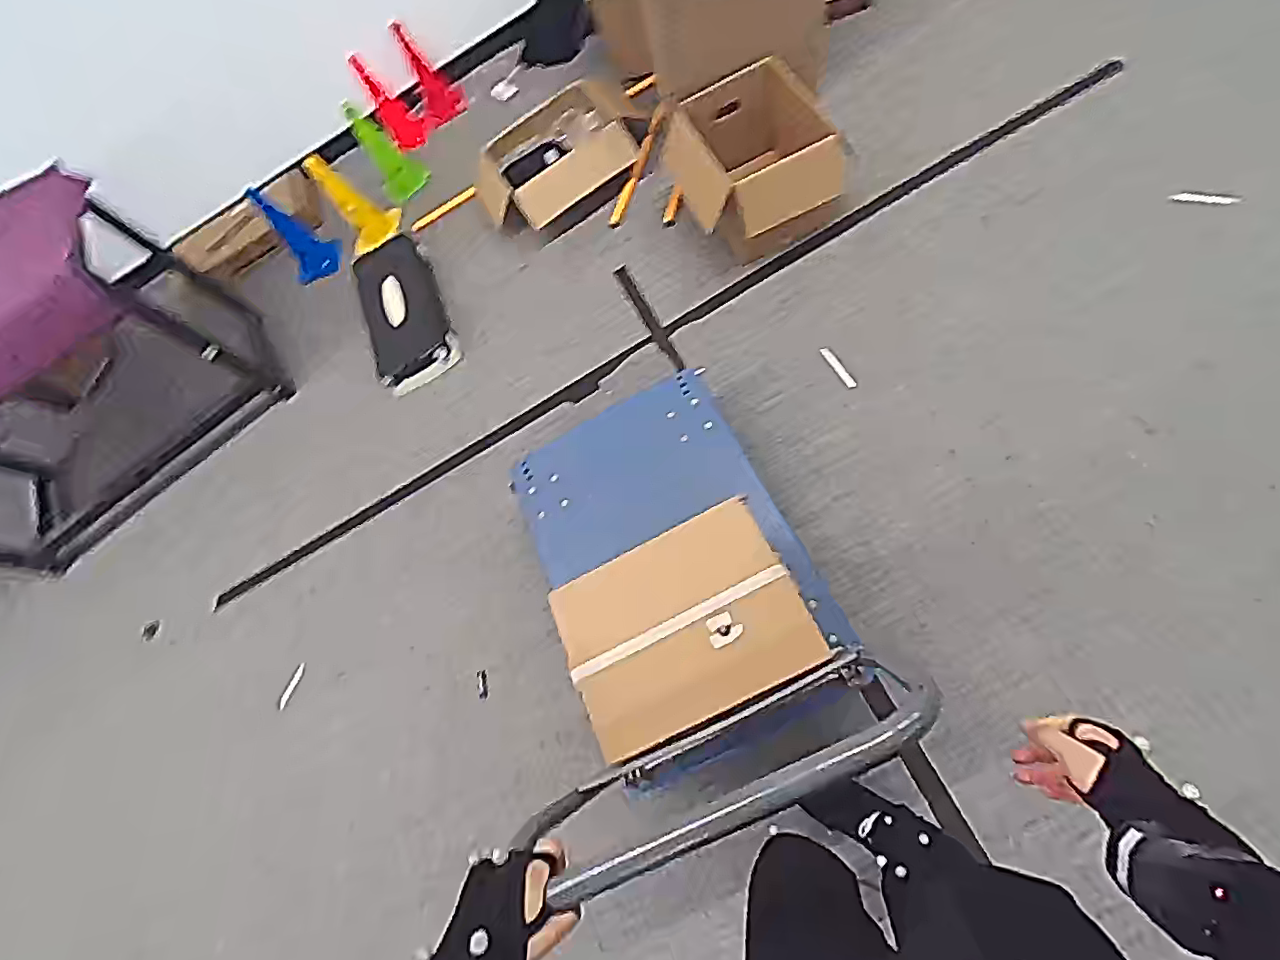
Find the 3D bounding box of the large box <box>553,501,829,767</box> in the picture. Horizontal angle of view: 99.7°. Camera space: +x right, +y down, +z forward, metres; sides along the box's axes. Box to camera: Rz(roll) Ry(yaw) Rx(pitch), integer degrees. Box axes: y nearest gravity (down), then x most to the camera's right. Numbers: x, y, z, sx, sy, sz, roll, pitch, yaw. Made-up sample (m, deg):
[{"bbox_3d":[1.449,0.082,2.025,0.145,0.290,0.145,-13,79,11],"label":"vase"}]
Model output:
[{"bbox_3d":[0.105,0.307,1.064,0.408,0.320,0.320,-28,65,3],"label":"large box"}]
